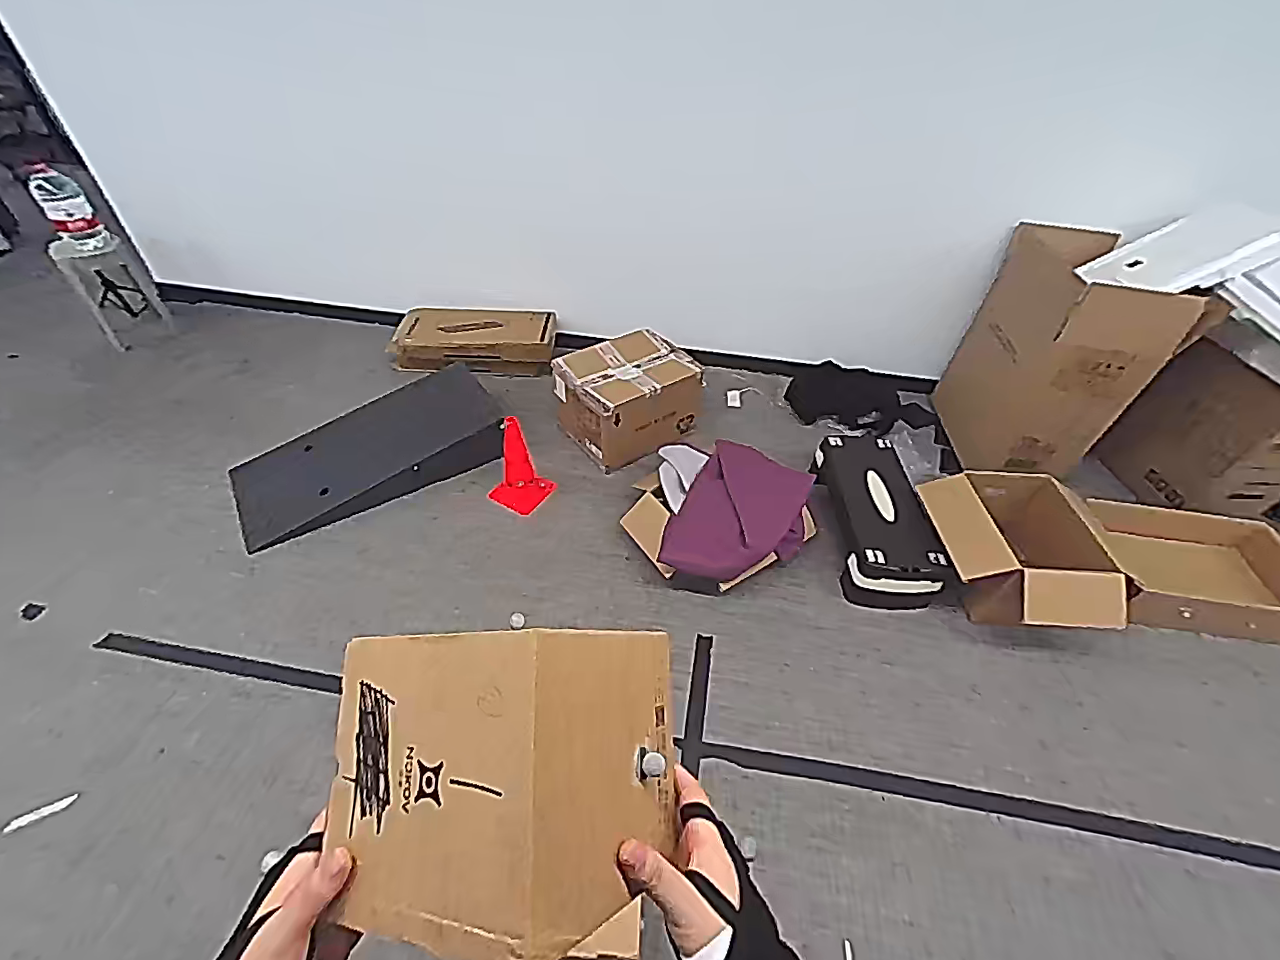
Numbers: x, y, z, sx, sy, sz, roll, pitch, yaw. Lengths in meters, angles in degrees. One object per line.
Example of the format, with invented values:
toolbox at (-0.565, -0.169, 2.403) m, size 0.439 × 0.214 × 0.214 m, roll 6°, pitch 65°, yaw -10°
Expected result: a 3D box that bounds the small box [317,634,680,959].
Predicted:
small box at (-0.087, 0.200, 0.386) m, size 0.179 × 0.176 × 0.168 m, roll -11°, pitch 70°, yaw 27°
